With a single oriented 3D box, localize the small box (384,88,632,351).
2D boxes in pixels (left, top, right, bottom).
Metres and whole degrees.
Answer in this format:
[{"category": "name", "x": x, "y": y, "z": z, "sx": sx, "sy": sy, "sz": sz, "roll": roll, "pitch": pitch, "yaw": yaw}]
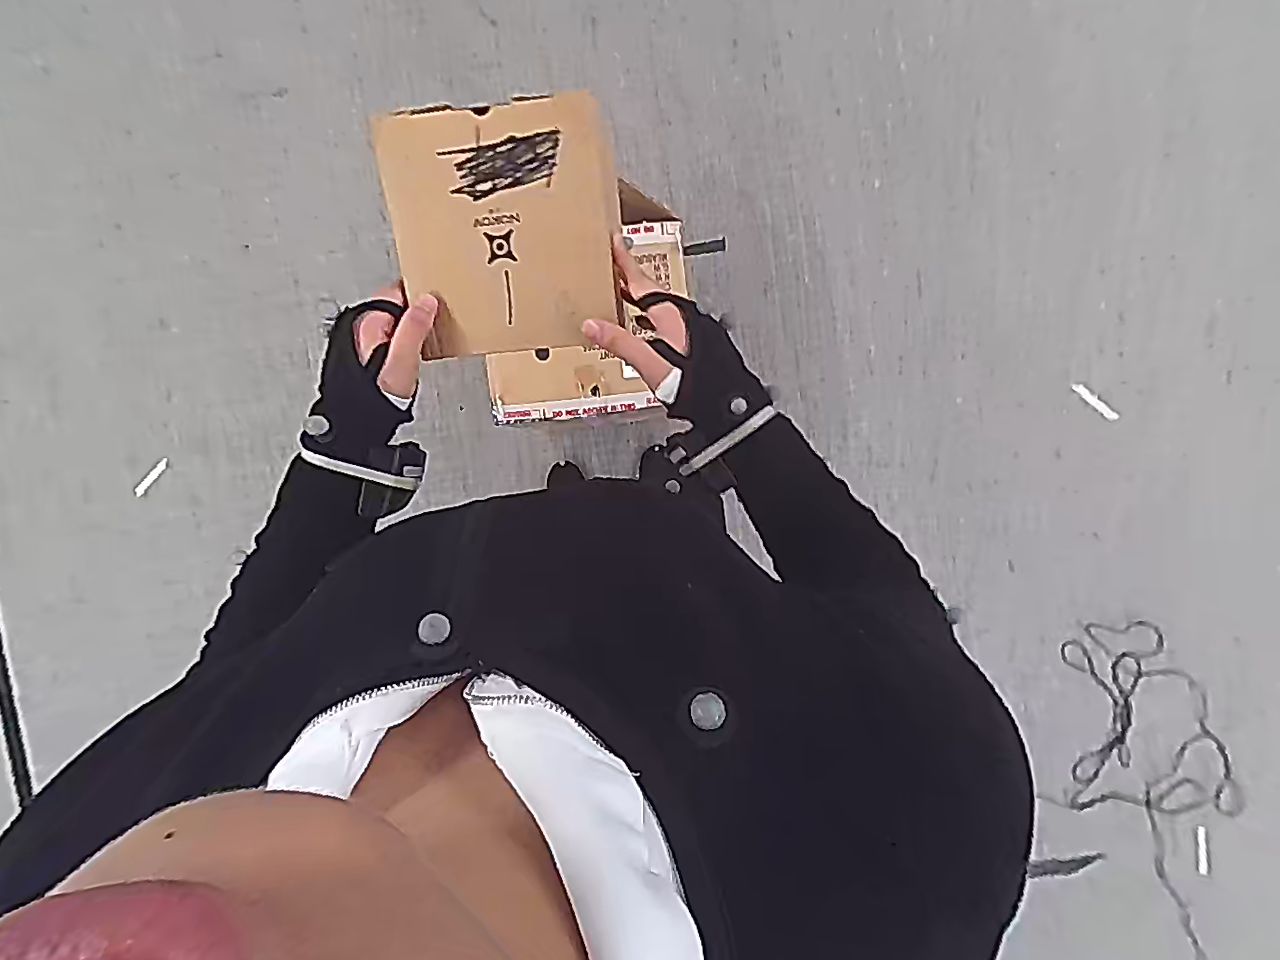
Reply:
[{"category": "small box", "x": -0.097, "y": -0.215, "z": 0.487, "sx": 0.168, "sy": 0.176, "sz": 0.179, "roll": -4, "pitch": 108, "yaw": 3}]
